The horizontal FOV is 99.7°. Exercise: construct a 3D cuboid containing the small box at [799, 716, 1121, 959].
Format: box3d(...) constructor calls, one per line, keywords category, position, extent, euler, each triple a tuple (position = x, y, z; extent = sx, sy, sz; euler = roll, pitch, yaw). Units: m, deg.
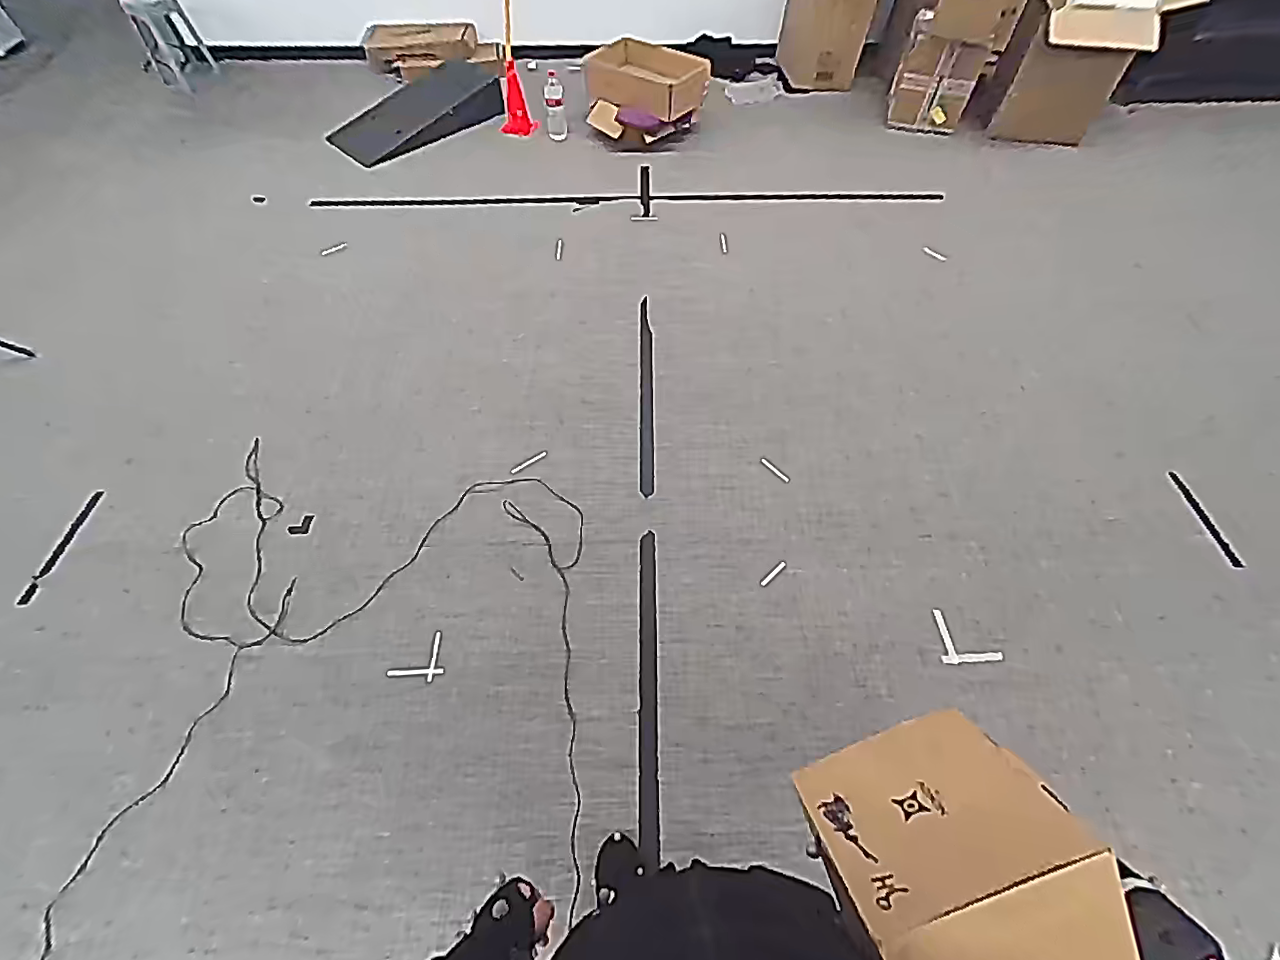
box3d(category="small box", position=(0.268, 0.352, 0.471), extent=(0.179, 0.168, 0.176), euler=(-21, 100, -1))
